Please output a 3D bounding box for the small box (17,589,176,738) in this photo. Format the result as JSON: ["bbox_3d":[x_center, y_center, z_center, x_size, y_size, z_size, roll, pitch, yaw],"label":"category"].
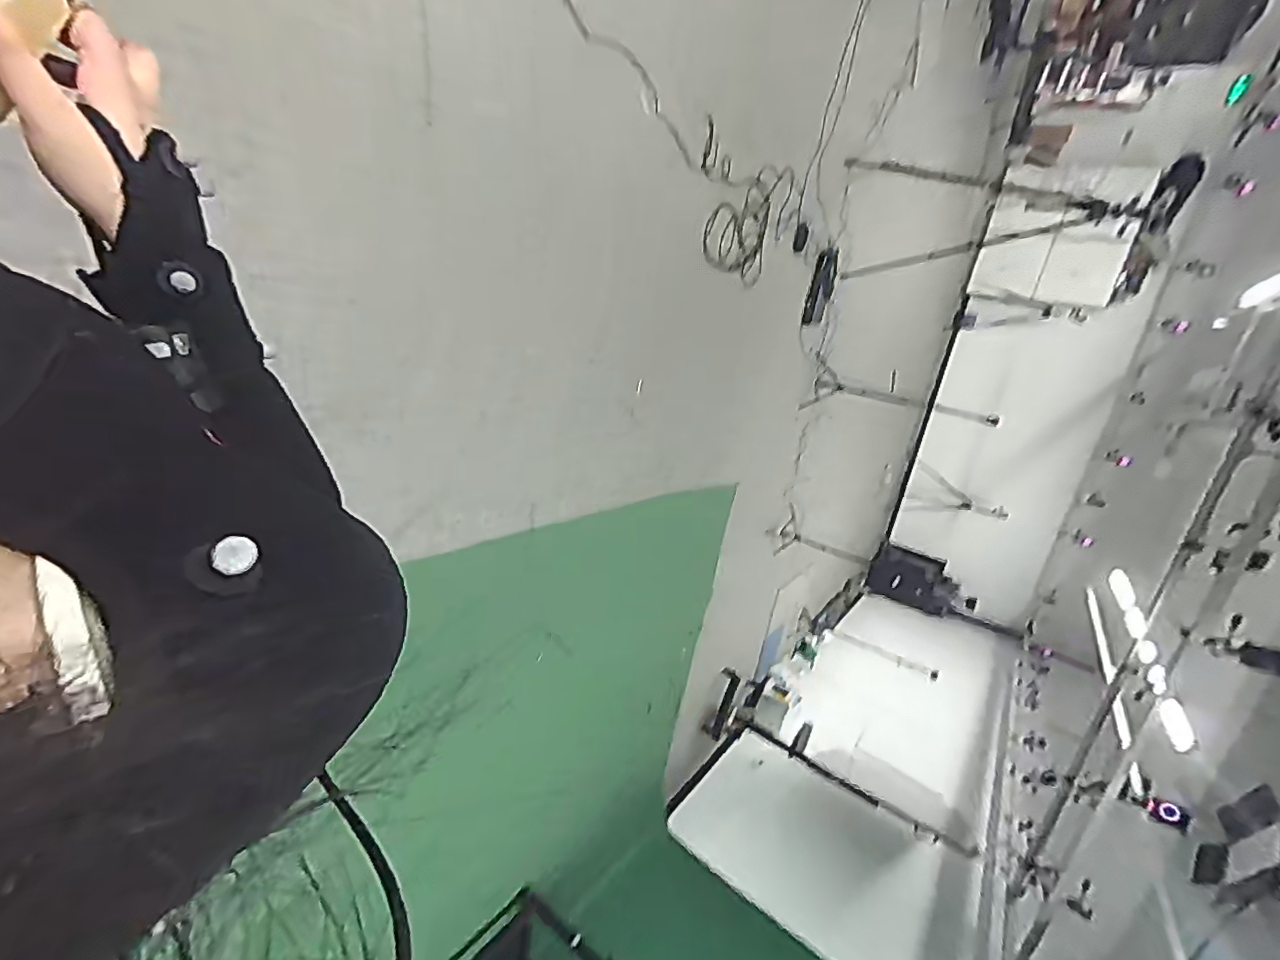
[{"bbox_3d":[-0.974,0.313,0.973,0.168,0.176,0.179,-15,118,-52],"label":"small box"}]
